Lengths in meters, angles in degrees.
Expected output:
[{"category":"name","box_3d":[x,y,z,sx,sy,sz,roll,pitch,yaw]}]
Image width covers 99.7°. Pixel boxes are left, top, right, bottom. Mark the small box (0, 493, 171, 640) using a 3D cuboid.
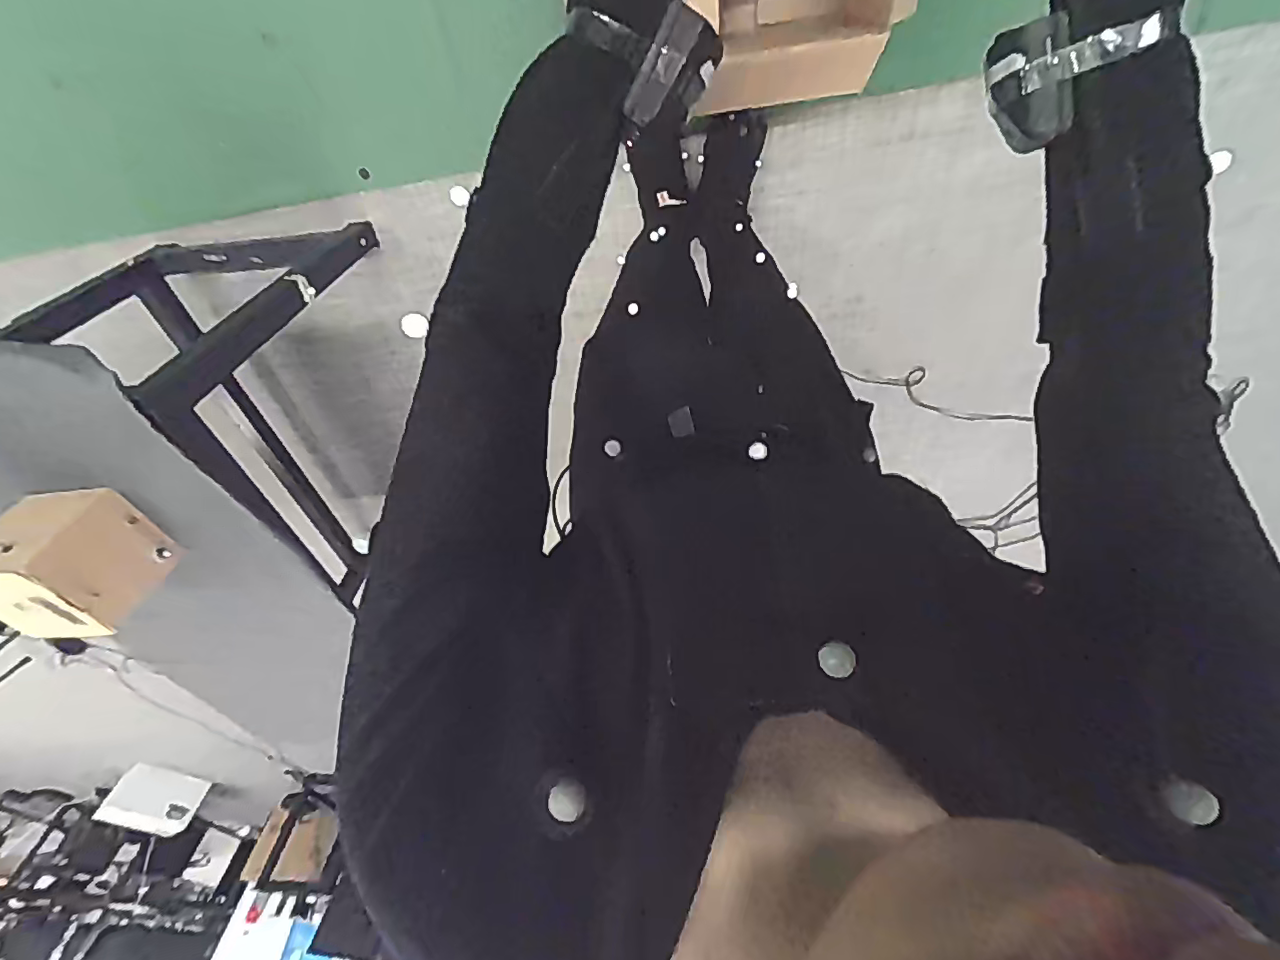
[{"category":"small box","box_3d":[-0.906,0.134,0.855,0.179,0.176,0.168,-4,133,11]}]
